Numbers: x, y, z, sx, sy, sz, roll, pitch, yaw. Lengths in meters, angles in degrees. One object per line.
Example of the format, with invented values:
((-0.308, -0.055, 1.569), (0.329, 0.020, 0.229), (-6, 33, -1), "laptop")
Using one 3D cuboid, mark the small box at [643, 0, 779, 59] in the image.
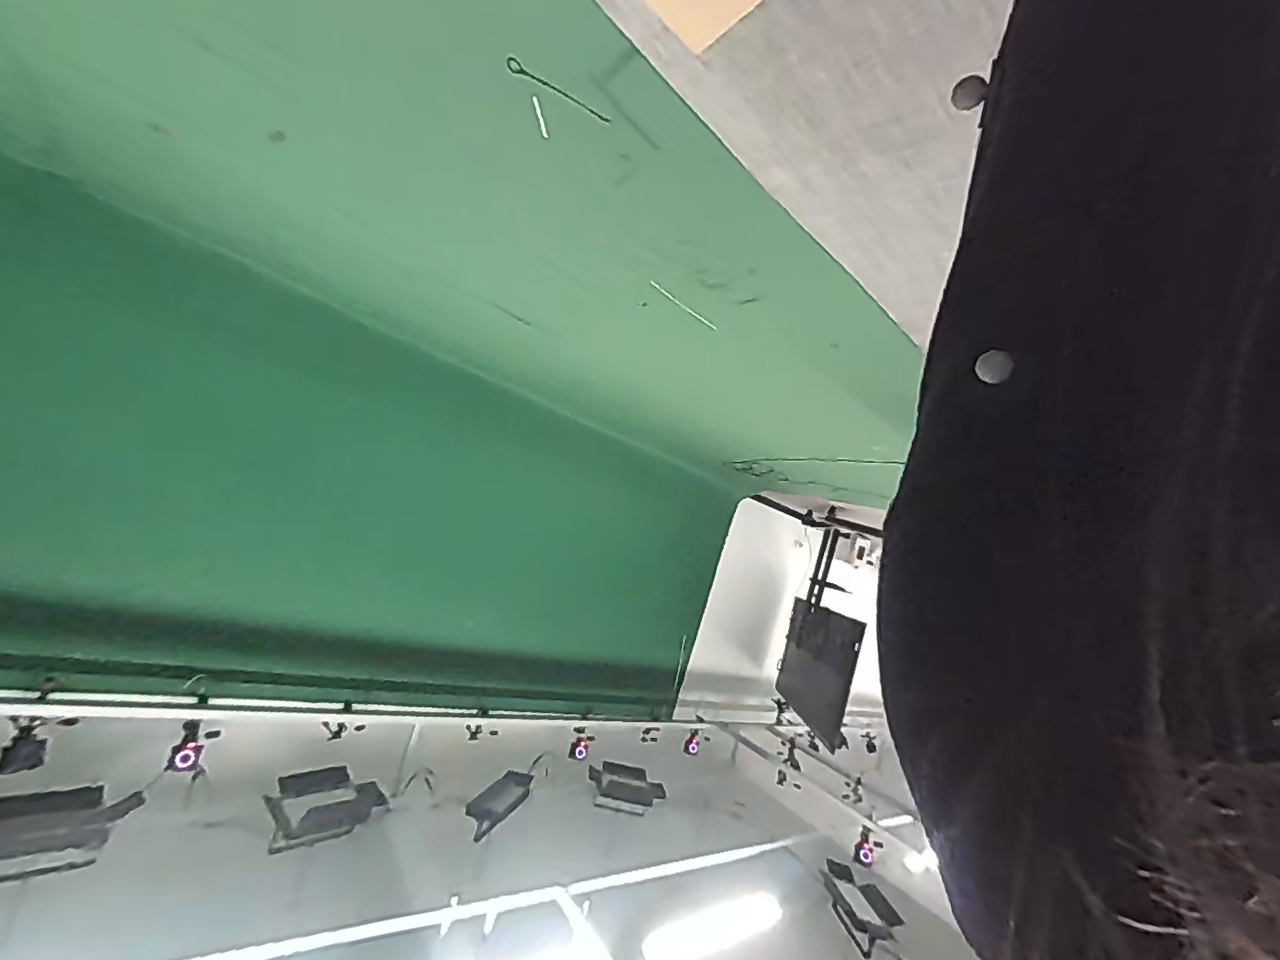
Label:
((0.074, -0.558, 0.491), (0.179, 0.176, 0.168), (22, 172, -35), "small box")
